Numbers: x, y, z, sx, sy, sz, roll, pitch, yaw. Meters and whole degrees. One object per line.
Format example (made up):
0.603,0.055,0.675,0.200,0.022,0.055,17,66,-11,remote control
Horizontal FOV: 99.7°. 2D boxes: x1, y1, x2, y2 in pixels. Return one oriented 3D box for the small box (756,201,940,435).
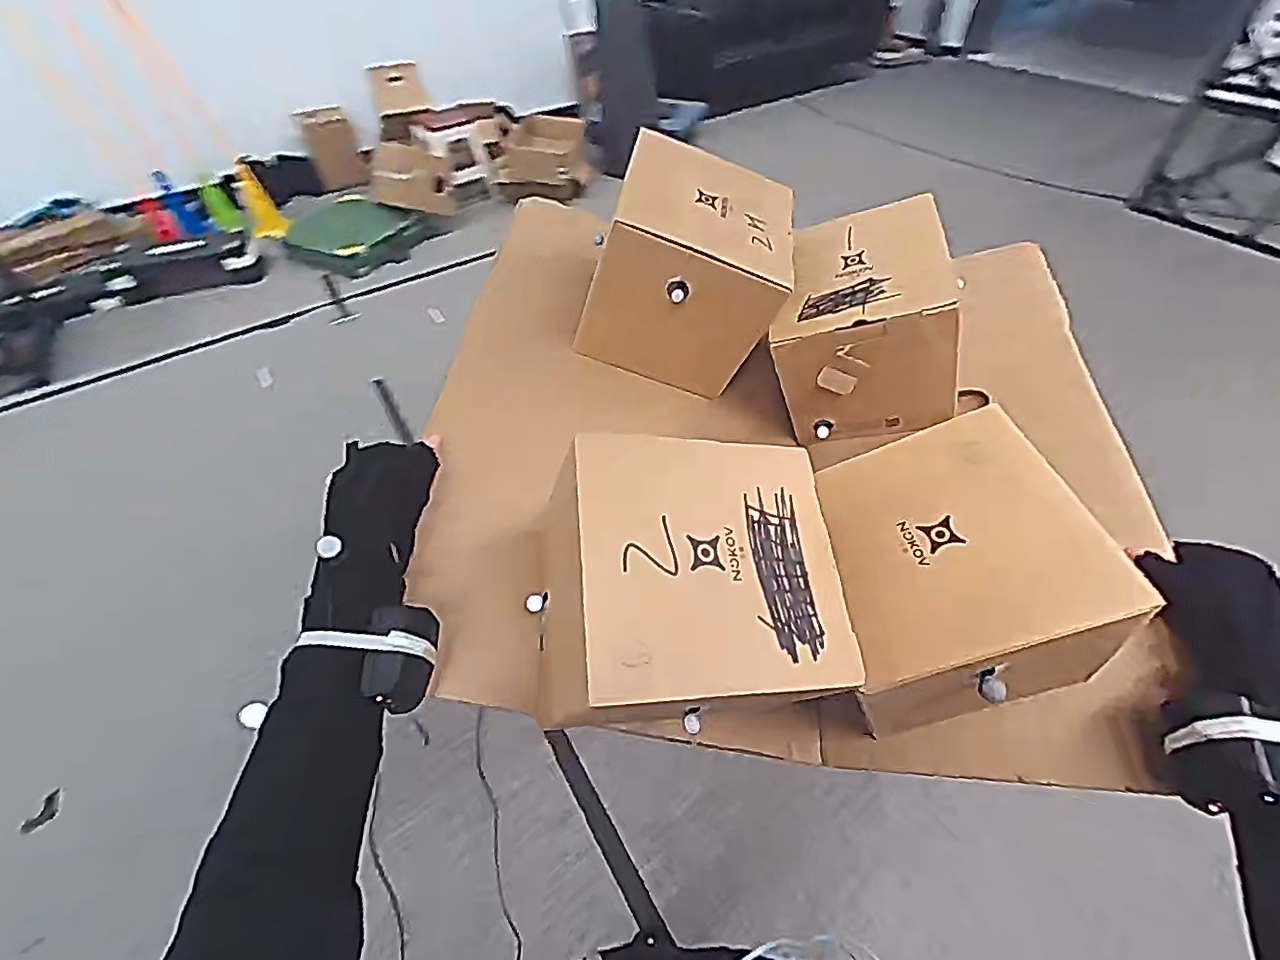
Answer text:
0.233,-0.165,0.606,0.168,0.176,0.179,-7,53,24,small box
